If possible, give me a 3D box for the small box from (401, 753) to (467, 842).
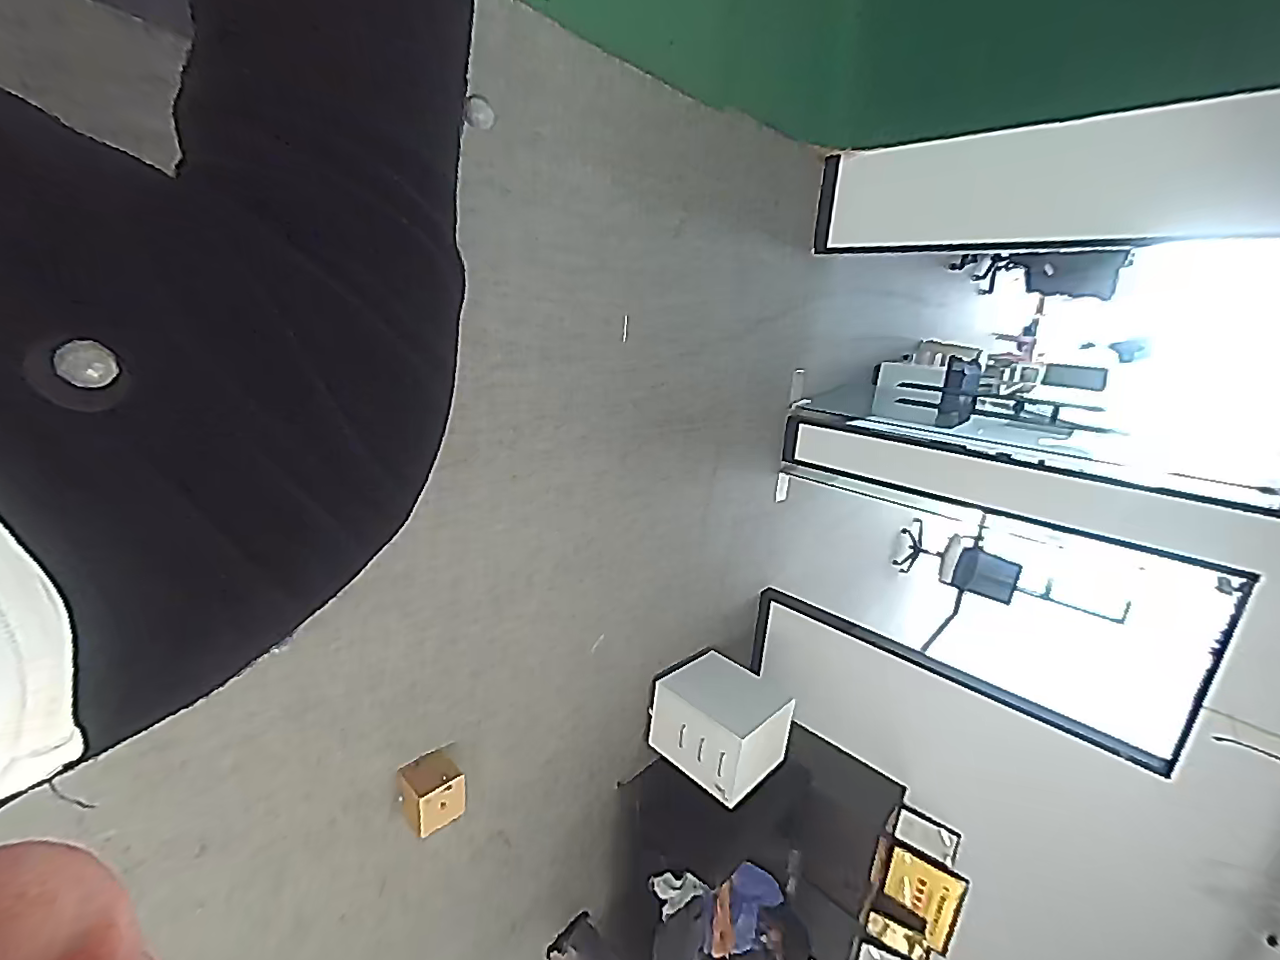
[{"bbox_3d":[-0.730,1.114,1.914,0.168,0.176,0.179,-11,112,-46],"label":"small box"}]
